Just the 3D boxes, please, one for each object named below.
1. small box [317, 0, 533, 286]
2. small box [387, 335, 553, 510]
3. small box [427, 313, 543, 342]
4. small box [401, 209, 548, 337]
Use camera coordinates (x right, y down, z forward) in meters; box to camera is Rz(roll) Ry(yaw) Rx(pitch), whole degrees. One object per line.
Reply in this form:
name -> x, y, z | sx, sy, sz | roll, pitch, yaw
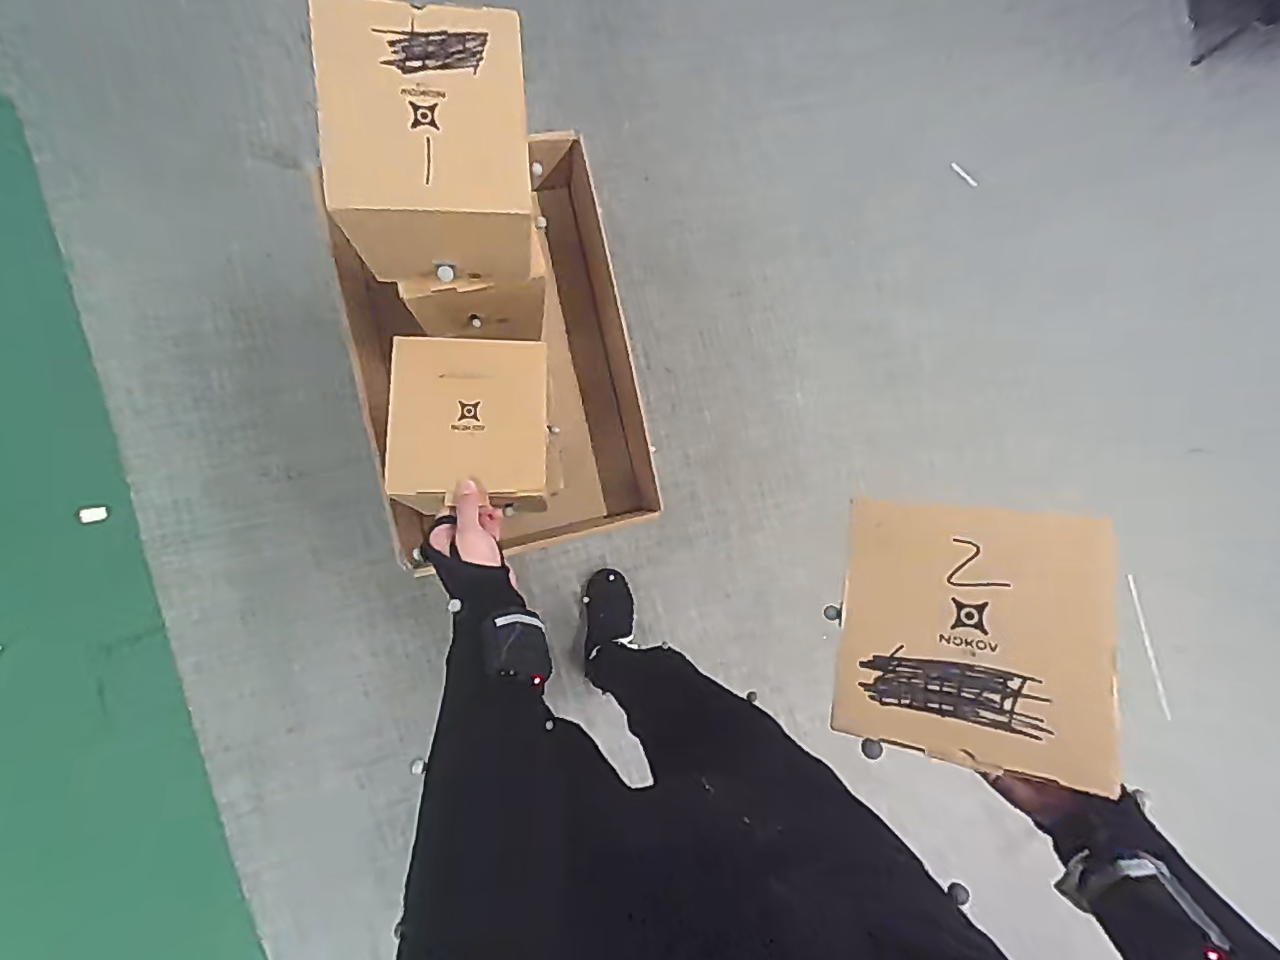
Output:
small box -> -0.195, -0.310, 0.533 | 0.168, 0.176, 0.179 | -4, 91, -11
small box -> -0.193, -0.058, 0.664 | 0.168, 0.176, 0.179 | 1, 79, -8
small box -> -0.253, -0.302, 0.854 | 0.168, 0.176, 0.179 | -13, 91, -11
small box -> -0.222, -0.303, 0.695 | 0.168, 0.176, 0.179 | -14, 92, -11
